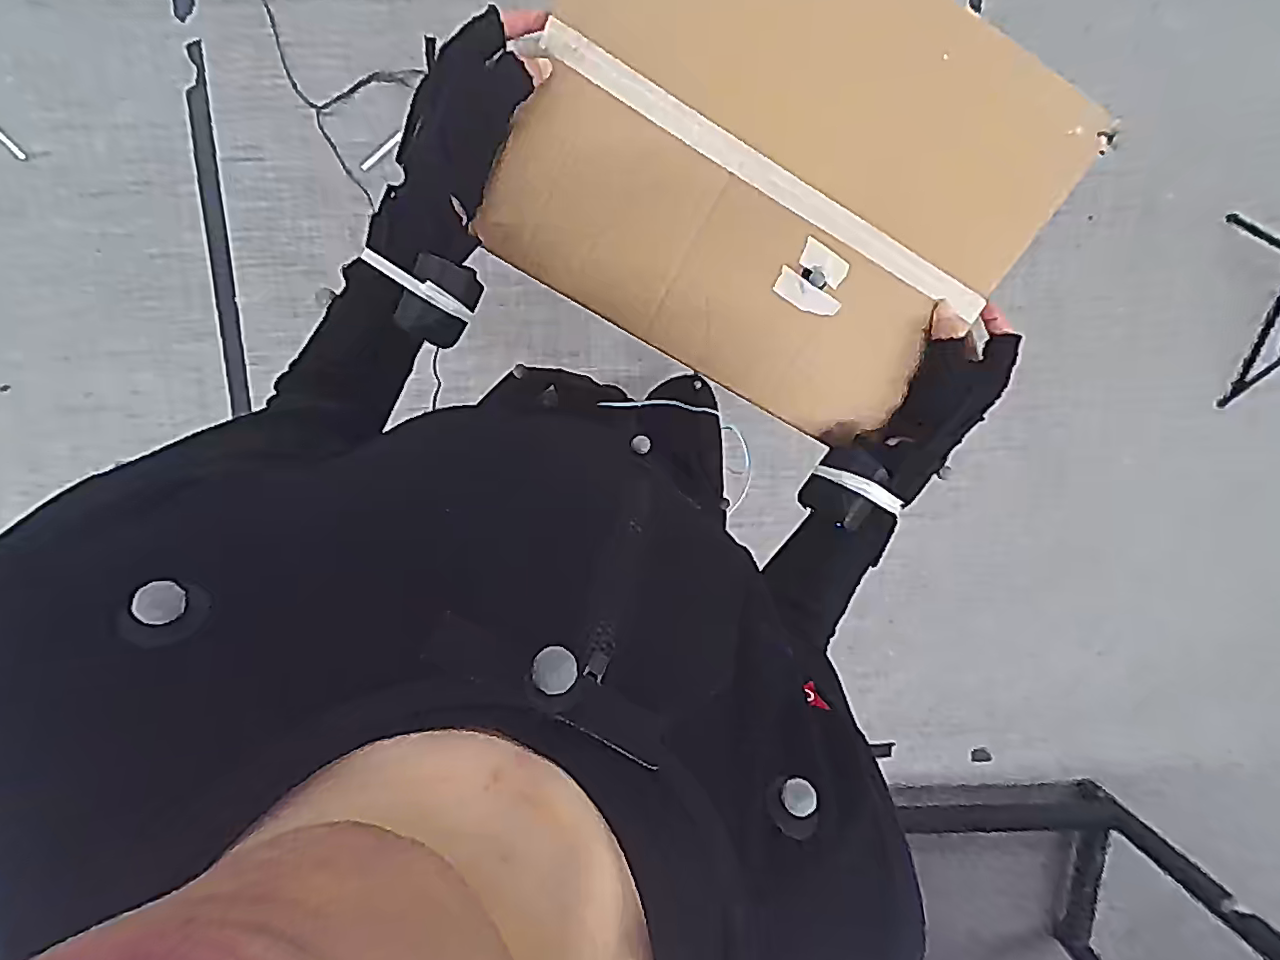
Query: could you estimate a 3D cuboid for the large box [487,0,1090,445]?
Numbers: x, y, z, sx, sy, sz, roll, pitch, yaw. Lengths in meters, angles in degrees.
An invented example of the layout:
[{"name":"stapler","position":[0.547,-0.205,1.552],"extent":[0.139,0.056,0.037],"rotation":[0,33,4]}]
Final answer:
[{"name":"large box","position":[0.112,-0.297,0.580],"extent":[0.408,0.320,0.320],"rotation":[28,110,-10]}]
